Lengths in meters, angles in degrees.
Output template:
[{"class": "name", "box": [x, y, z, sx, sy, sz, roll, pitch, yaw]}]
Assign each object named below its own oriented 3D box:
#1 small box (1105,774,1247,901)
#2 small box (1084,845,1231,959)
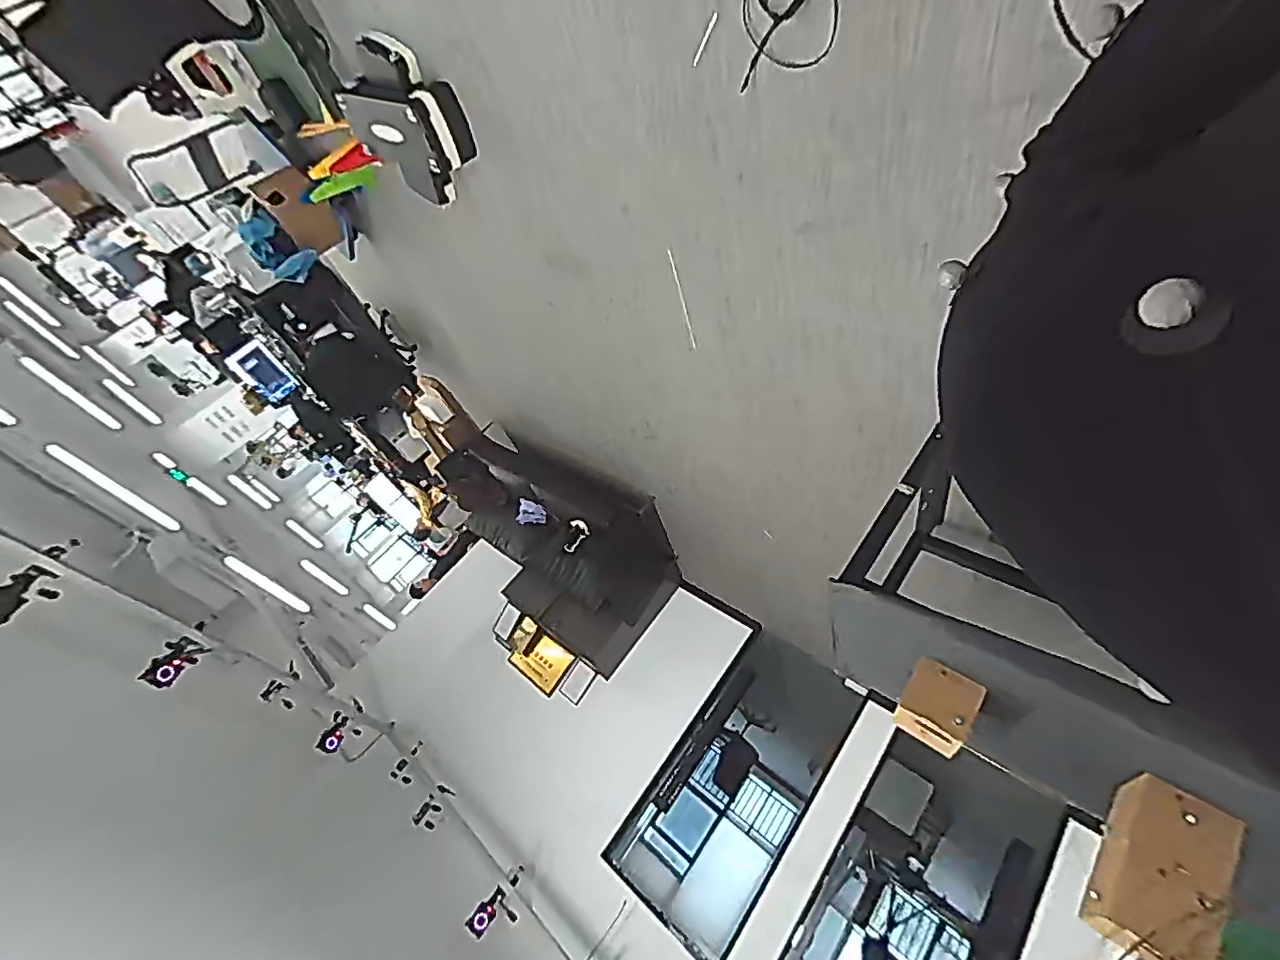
[{"class": "small box", "box": [1.192, 0.796, 1.207, 0.168, 0.176, 0.179, 25, 153, 35]}, {"class": "small box", "box": [1.094, 0.913, 1.147, 0.168, 0.176, 0.179, 27, 155, 34]}]
